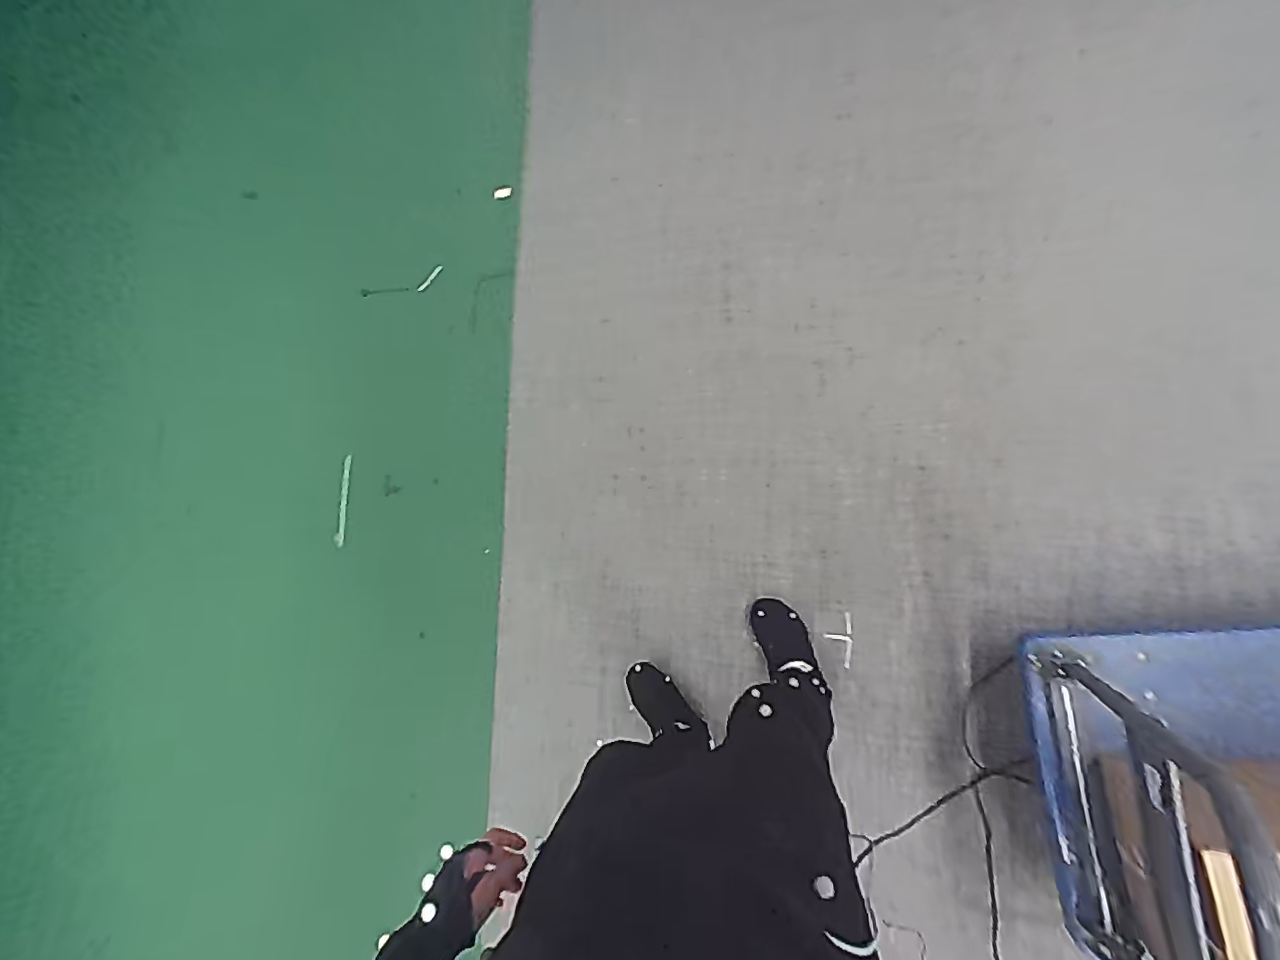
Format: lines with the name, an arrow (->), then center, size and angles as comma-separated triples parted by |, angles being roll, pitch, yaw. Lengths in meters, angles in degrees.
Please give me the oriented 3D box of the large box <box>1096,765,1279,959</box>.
large box -> 0.995, 0.630, 0.781 | 0.408, 0.320, 0.320 | -9, 83, 19
